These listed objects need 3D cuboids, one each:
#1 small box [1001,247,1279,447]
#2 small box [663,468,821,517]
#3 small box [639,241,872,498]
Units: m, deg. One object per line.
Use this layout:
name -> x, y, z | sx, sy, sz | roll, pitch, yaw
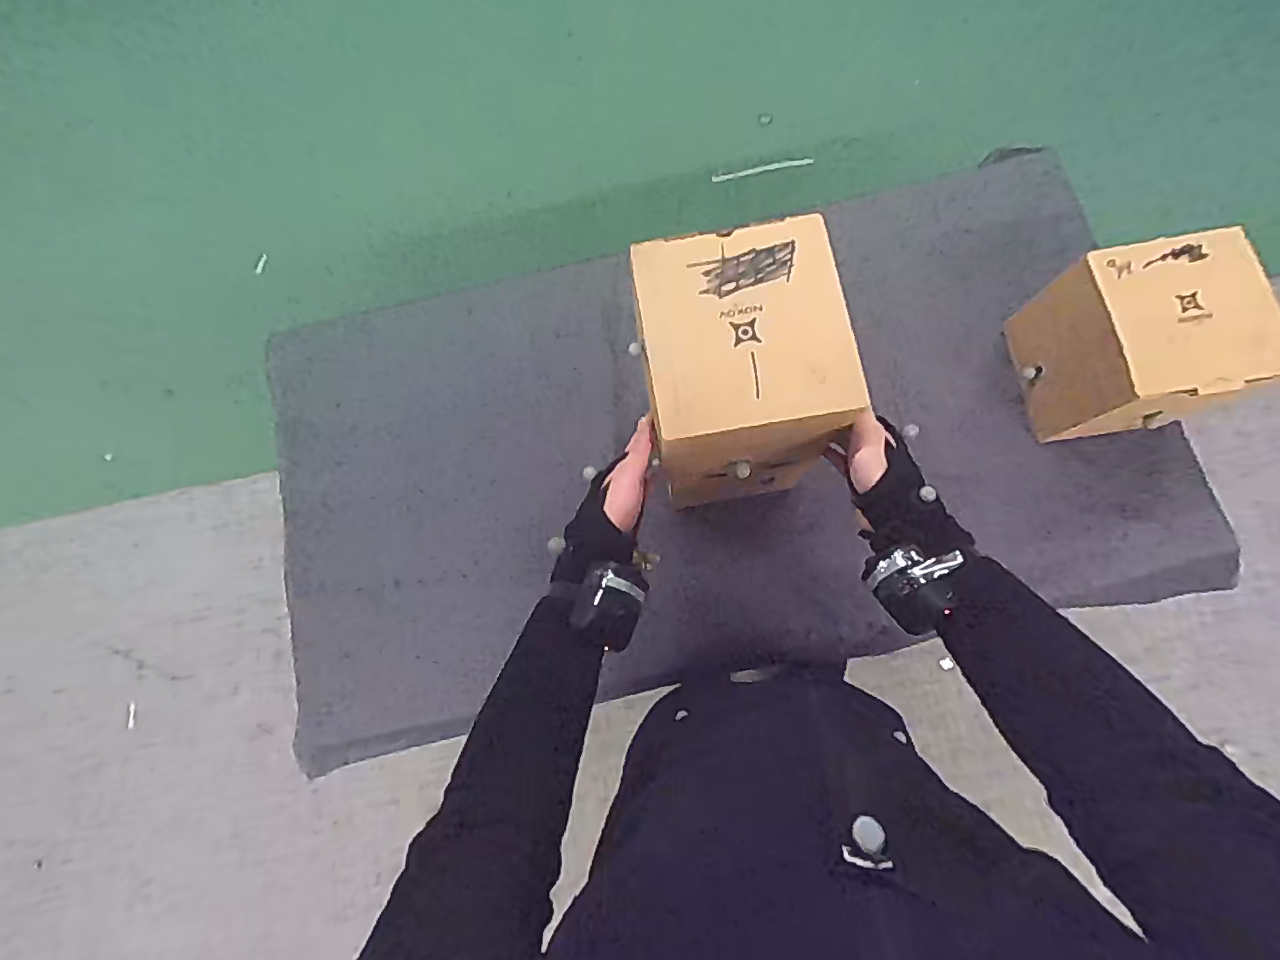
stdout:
small box -> 0.589, -0.147, 0.662 | 0.168, 0.176, 0.179 | -9, 77, 3
small box -> 0.109, -0.056, 0.682 | 0.168, 0.176, 0.179 | -11, 75, 1
small box -> 0.094, -0.092, 0.522 | 0.168, 0.176, 0.179 | -10, 78, 1
